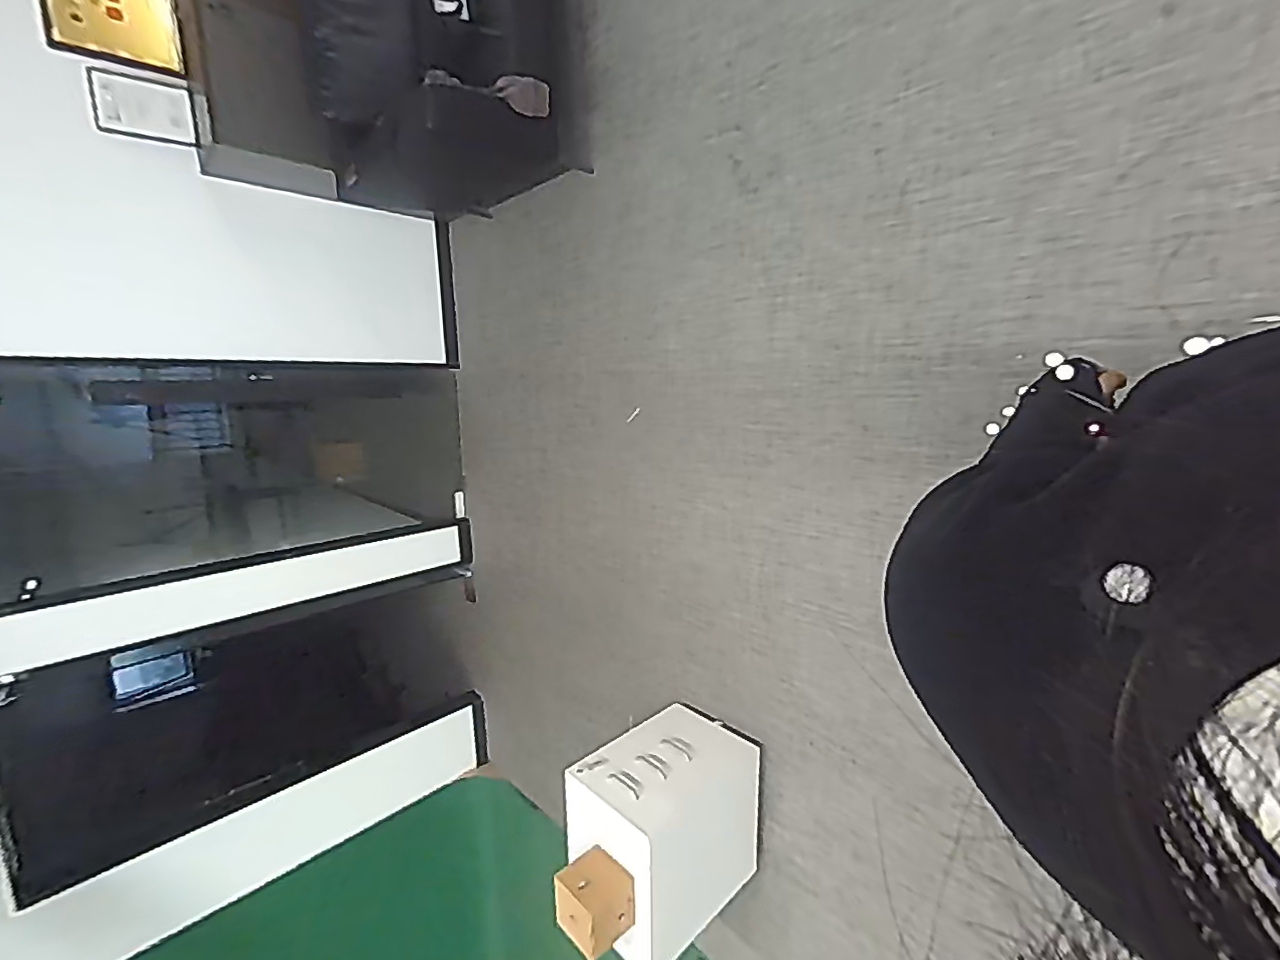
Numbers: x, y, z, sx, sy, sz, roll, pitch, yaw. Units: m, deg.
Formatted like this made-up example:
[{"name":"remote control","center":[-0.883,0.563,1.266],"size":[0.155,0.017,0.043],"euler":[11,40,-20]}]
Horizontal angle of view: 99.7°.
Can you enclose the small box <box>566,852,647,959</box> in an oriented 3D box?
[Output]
[{"name":"small box","center":[-0.097,1.246,1.591],"size":[0.179,0.176,0.168],"euler":[7,102,46]}]
